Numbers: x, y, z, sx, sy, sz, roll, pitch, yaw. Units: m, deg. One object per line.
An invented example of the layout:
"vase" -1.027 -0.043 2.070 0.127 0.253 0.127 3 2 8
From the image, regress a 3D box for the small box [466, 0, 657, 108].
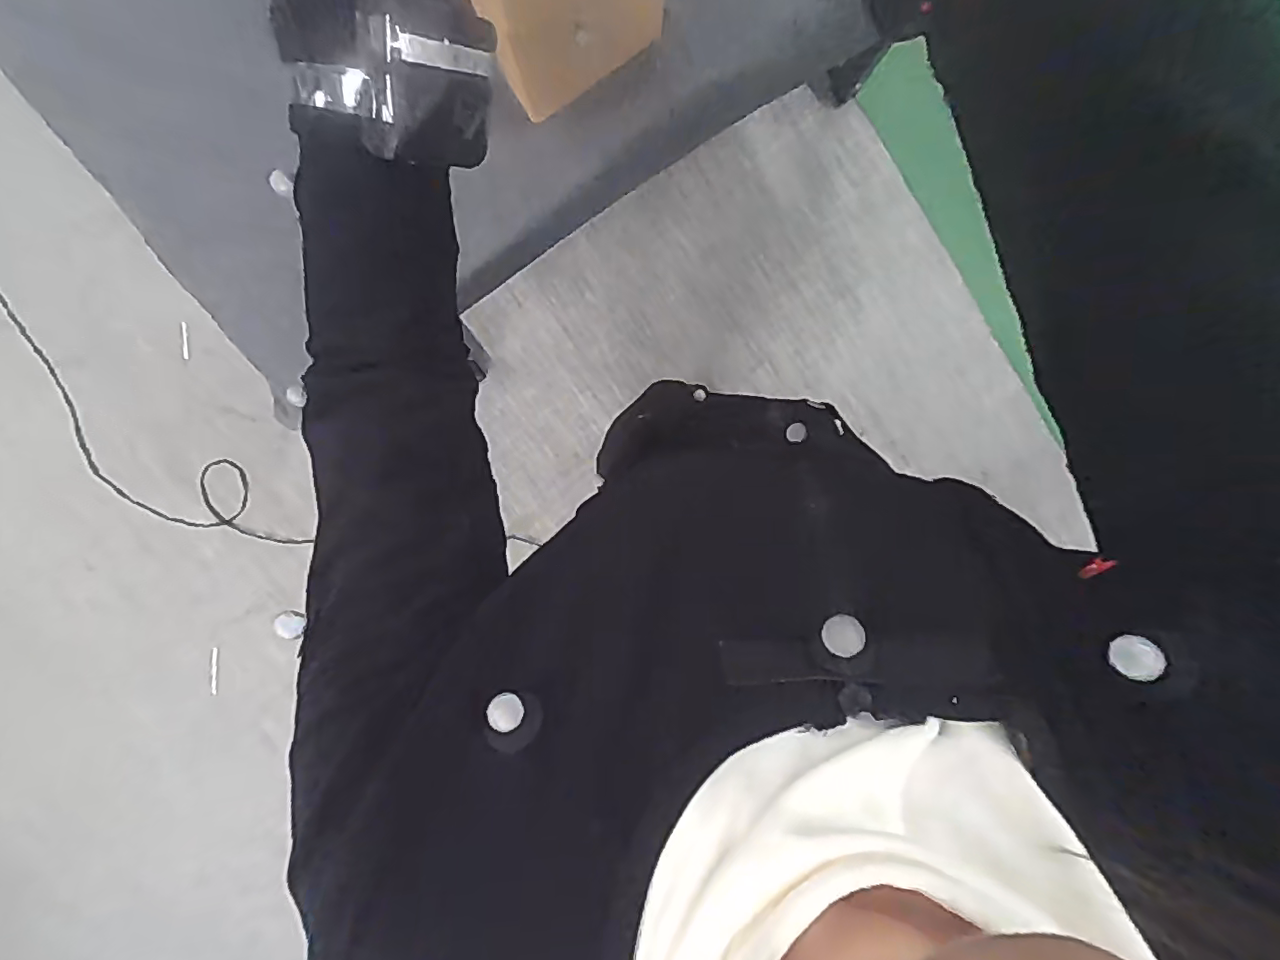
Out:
"small box" -0.092 -0.516 0.524 0.179 0.176 0.168 -32 98 6
